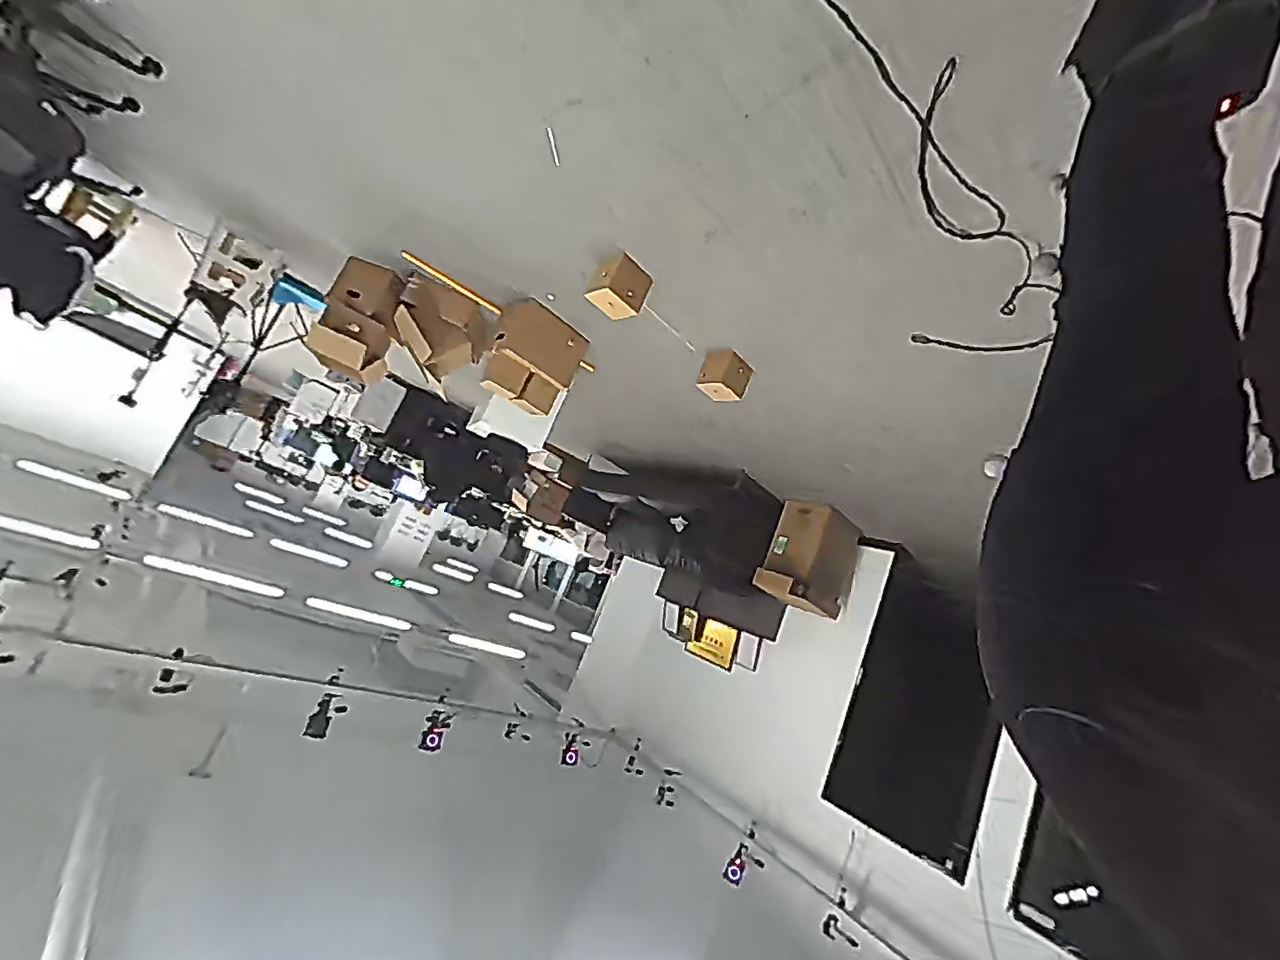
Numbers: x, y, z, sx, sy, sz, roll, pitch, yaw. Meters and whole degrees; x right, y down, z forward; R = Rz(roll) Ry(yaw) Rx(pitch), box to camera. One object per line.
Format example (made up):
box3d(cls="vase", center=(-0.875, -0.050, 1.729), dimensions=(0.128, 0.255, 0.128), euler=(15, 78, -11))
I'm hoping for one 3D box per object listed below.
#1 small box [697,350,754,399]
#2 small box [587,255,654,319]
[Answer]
box3d(cls="small box", center=(0.407, -0.498, 2.551), dimensions=(0.168, 0.176, 0.179), euler=(29, 167, -37))
box3d(cls="small box", center=(-0.076, -0.771, 2.148), dimensions=(0.179, 0.176, 0.168), euler=(29, 167, -37))
